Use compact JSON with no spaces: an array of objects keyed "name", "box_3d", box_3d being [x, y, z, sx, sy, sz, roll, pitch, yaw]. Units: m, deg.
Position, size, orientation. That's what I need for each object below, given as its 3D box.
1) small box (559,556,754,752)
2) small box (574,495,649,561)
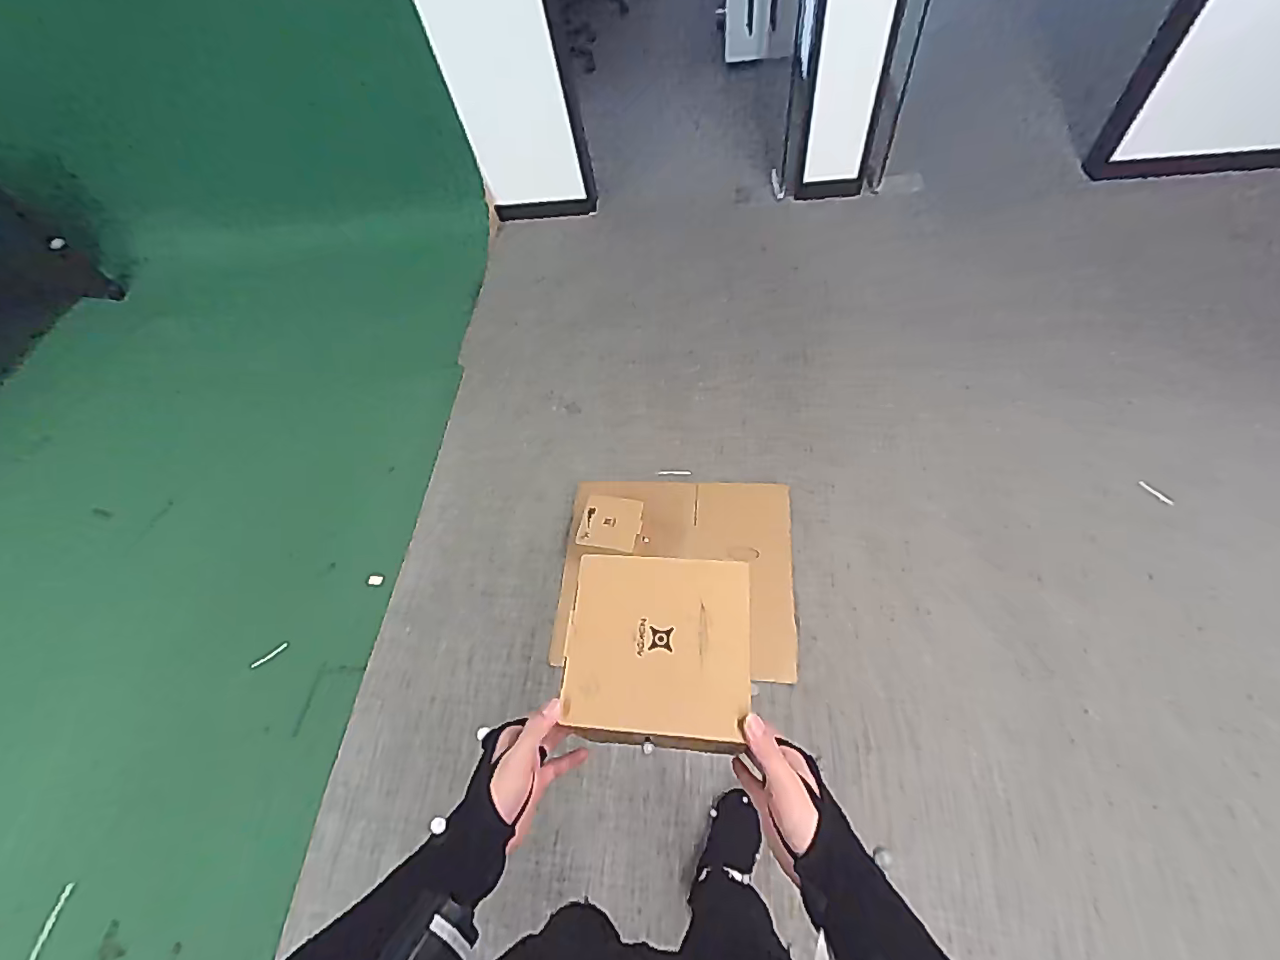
[{"name":"small box","box_3d":[0.028,0.193,0.583,0.179,0.176,0.168,3,61,7]},{"name":"small box","box_3d":[-0.077,0.168,1.626,0.179,0.176,0.168,9,62,13]}]
